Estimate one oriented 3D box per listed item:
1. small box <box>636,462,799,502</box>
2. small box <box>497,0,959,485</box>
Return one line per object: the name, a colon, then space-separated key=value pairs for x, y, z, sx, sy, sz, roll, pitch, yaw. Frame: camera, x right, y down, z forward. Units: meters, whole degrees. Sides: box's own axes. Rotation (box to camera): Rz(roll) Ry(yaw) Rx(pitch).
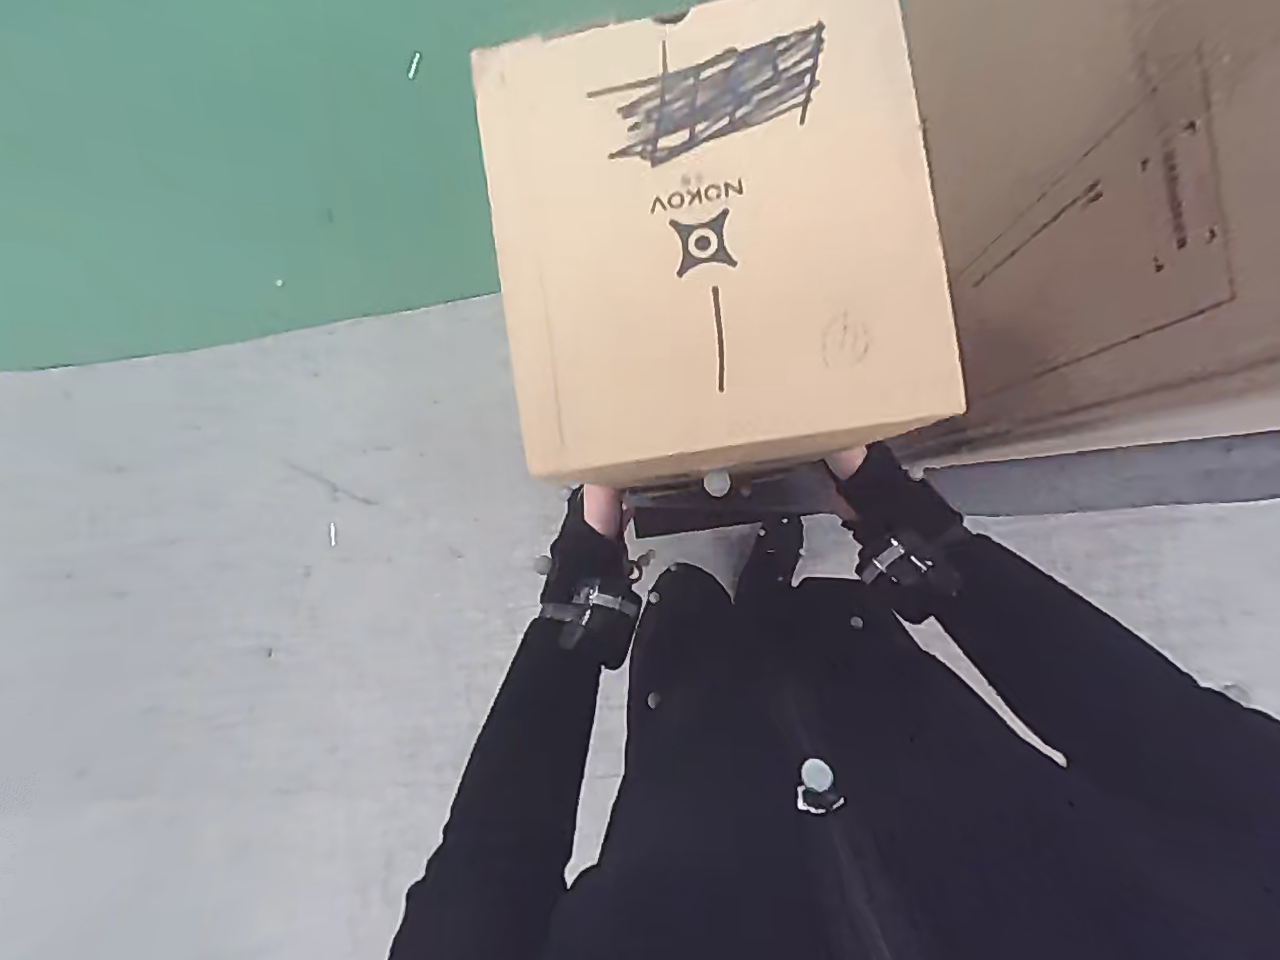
small box: x=0.076 y=-0.071 z=0.624 sx=0.168 sy=0.176 sz=0.179 roll=-10 pitch=84 yaw=6
small box: x=0.038 y=-0.096 z=0.297 sx=0.168 sy=0.176 sz=0.179 roll=-9 pitch=87 yaw=7
